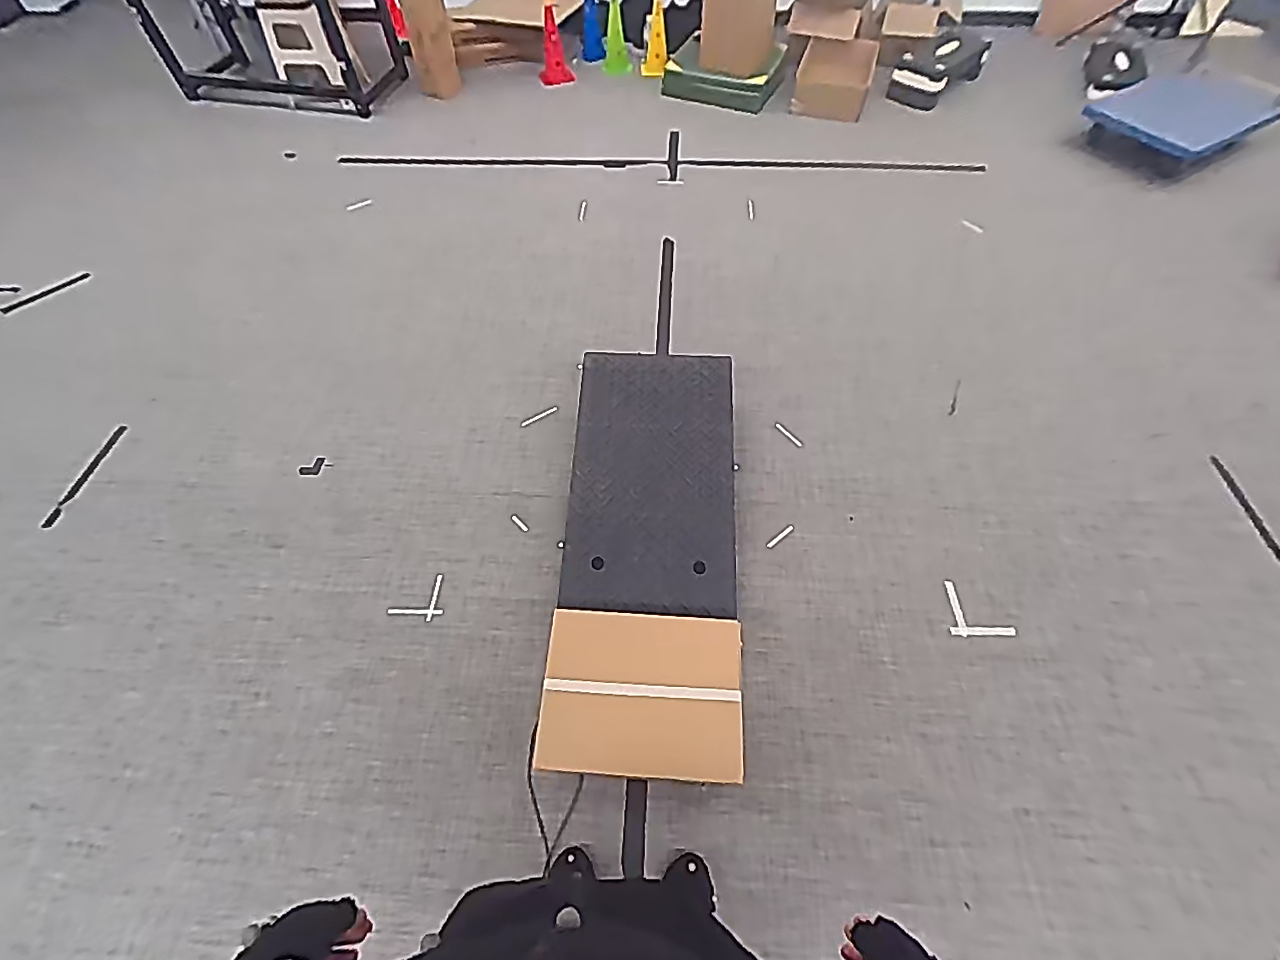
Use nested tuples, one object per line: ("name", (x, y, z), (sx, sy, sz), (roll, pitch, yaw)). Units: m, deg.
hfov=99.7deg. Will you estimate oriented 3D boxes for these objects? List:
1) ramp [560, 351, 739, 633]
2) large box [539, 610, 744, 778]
("ramp", (0.042, 0.040, 1.613), (0.509, 0.206, 0.991), (1, 58, 0))
("large box", (0.012, 0.497, 1.240), (0.408, 0.320, 0.320), (3, 61, 2))
